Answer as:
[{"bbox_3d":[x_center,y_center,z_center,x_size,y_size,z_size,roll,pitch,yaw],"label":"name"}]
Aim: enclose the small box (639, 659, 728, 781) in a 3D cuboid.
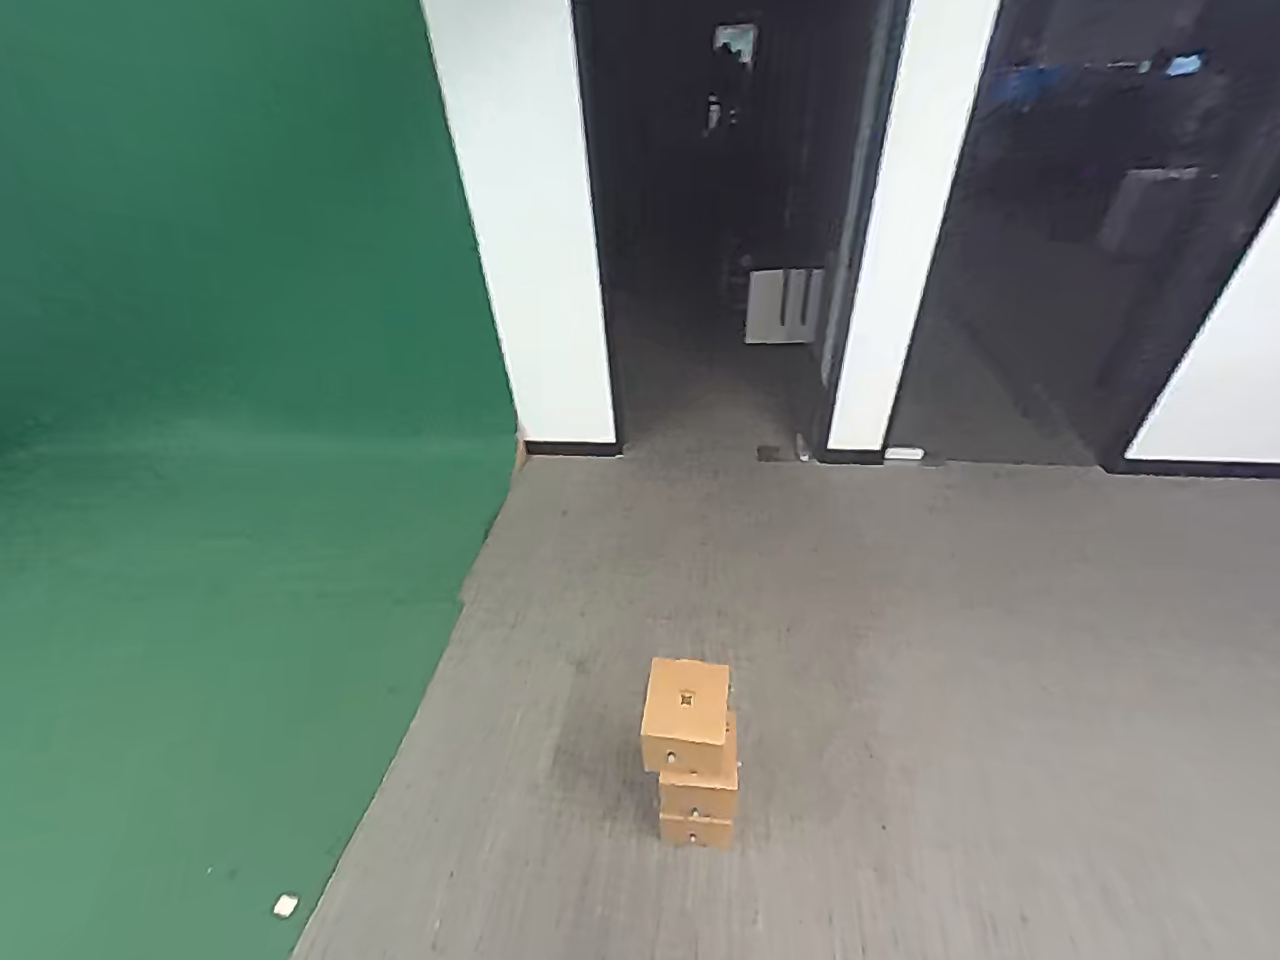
[{"bbox_3d":[0.099,0.512,1.151,0.168,0.176,0.179,3,39,10],"label":"small box"}]
